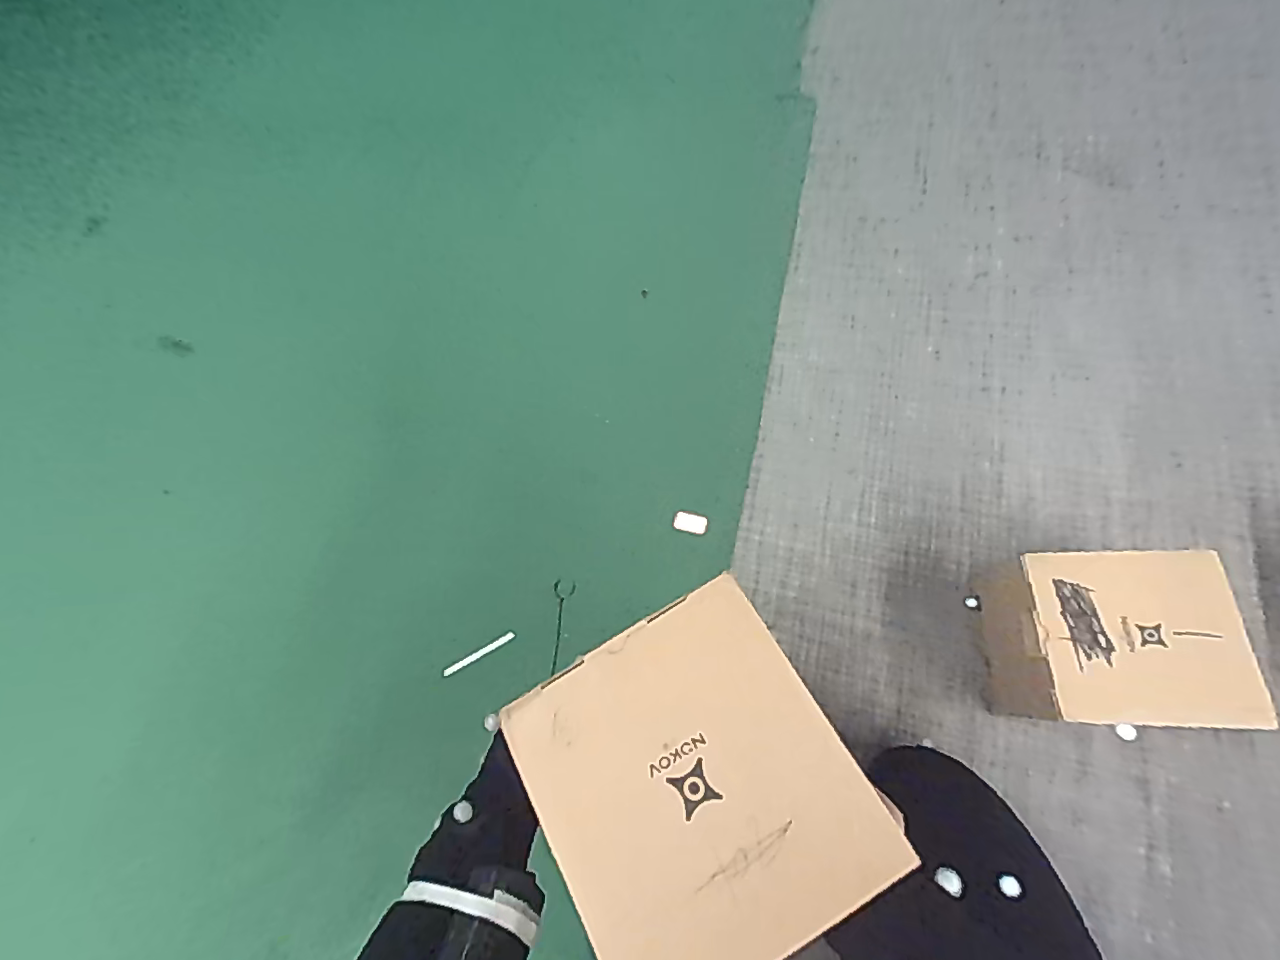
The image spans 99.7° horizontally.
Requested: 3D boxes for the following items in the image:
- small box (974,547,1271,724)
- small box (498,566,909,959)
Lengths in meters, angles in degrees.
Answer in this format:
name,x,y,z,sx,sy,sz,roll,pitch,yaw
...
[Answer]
name,x,y,z,sx,sy,sz,roll,pitch,yaw
small box,0.499,0.176,0.601,0.179,0.176,0.168,-3,68,11
small box,0.034,0.188,0.369,0.168,0.176,0.179,-31,68,-5
